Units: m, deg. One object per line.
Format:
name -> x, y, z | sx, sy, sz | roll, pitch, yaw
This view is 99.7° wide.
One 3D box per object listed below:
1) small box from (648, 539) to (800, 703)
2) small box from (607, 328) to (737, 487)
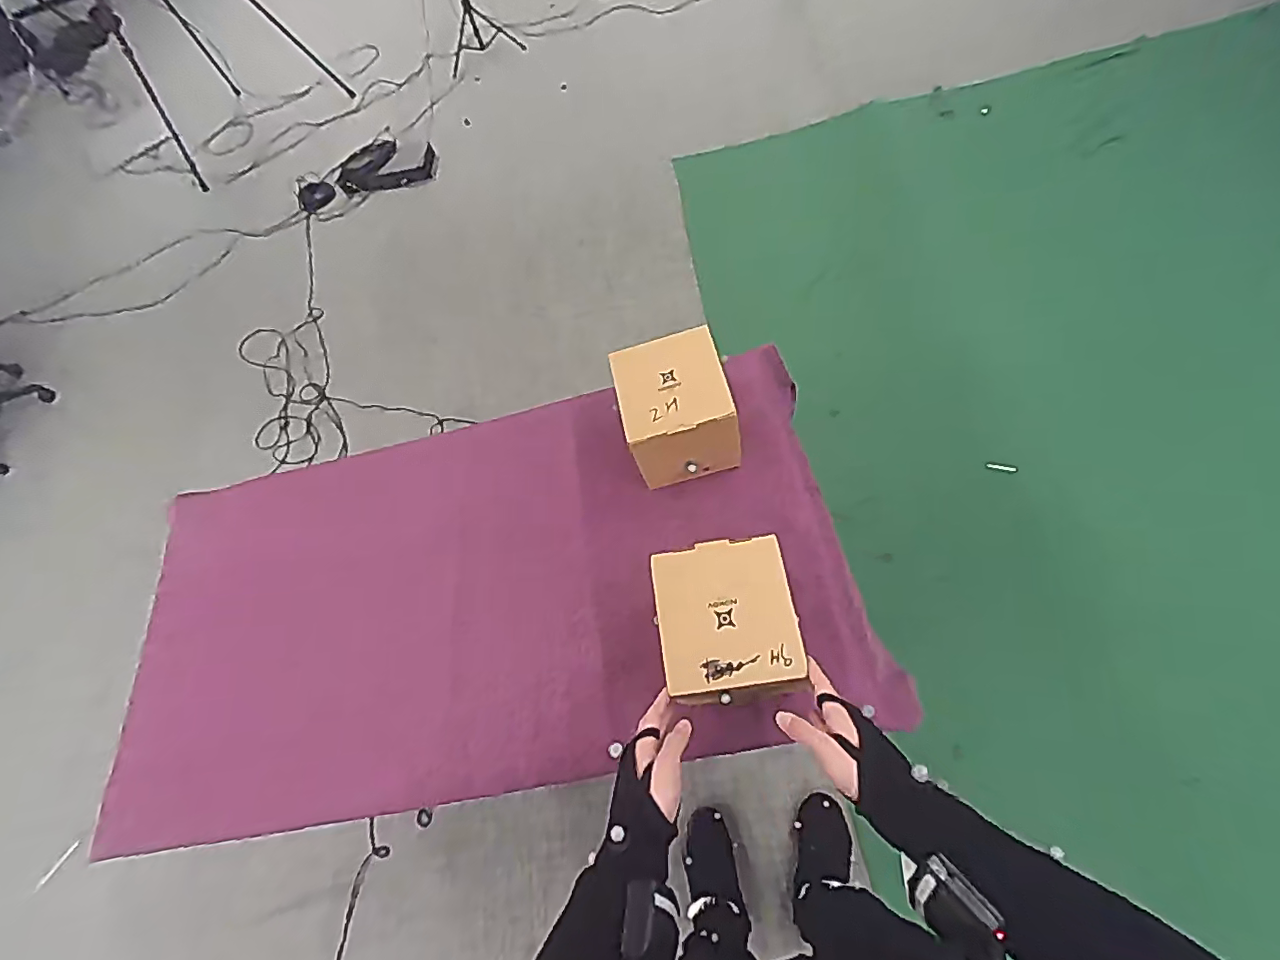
small box -> 0.112, 0.199, 0.736 | 0.168, 0.176, 0.179 | -11, 65, 8
small box -> 0.057, -0.112, 0.893 | 0.168, 0.176, 0.179 | -16, 64, 8
